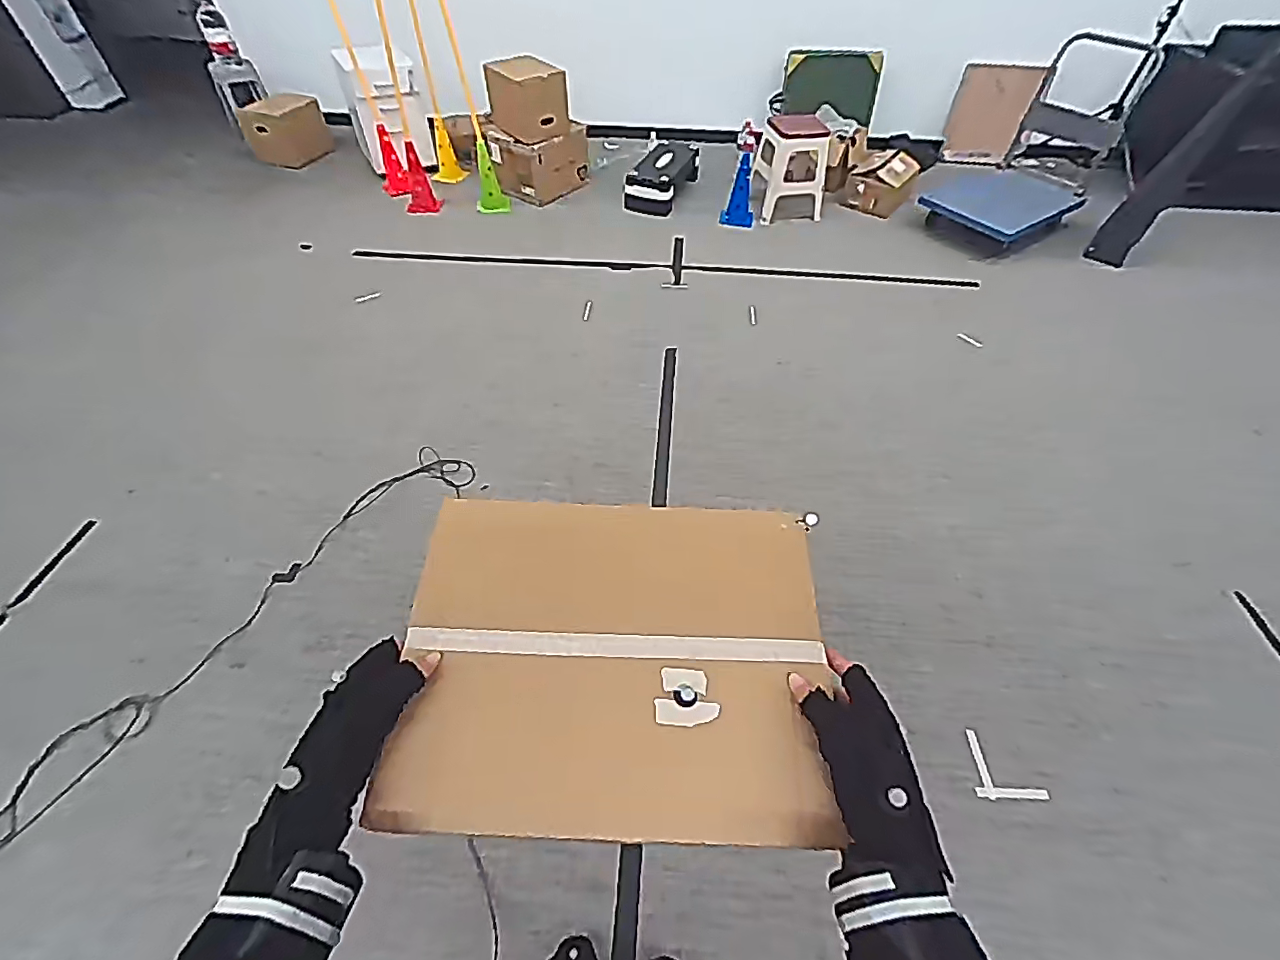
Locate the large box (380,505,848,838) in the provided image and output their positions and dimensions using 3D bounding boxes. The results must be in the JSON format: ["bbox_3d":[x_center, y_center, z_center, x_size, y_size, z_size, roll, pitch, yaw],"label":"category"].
[{"bbox_3d":[-0.024,0.244,0.656,0.408,0.320,0.320,3,58,-1],"label":"large box"}]
